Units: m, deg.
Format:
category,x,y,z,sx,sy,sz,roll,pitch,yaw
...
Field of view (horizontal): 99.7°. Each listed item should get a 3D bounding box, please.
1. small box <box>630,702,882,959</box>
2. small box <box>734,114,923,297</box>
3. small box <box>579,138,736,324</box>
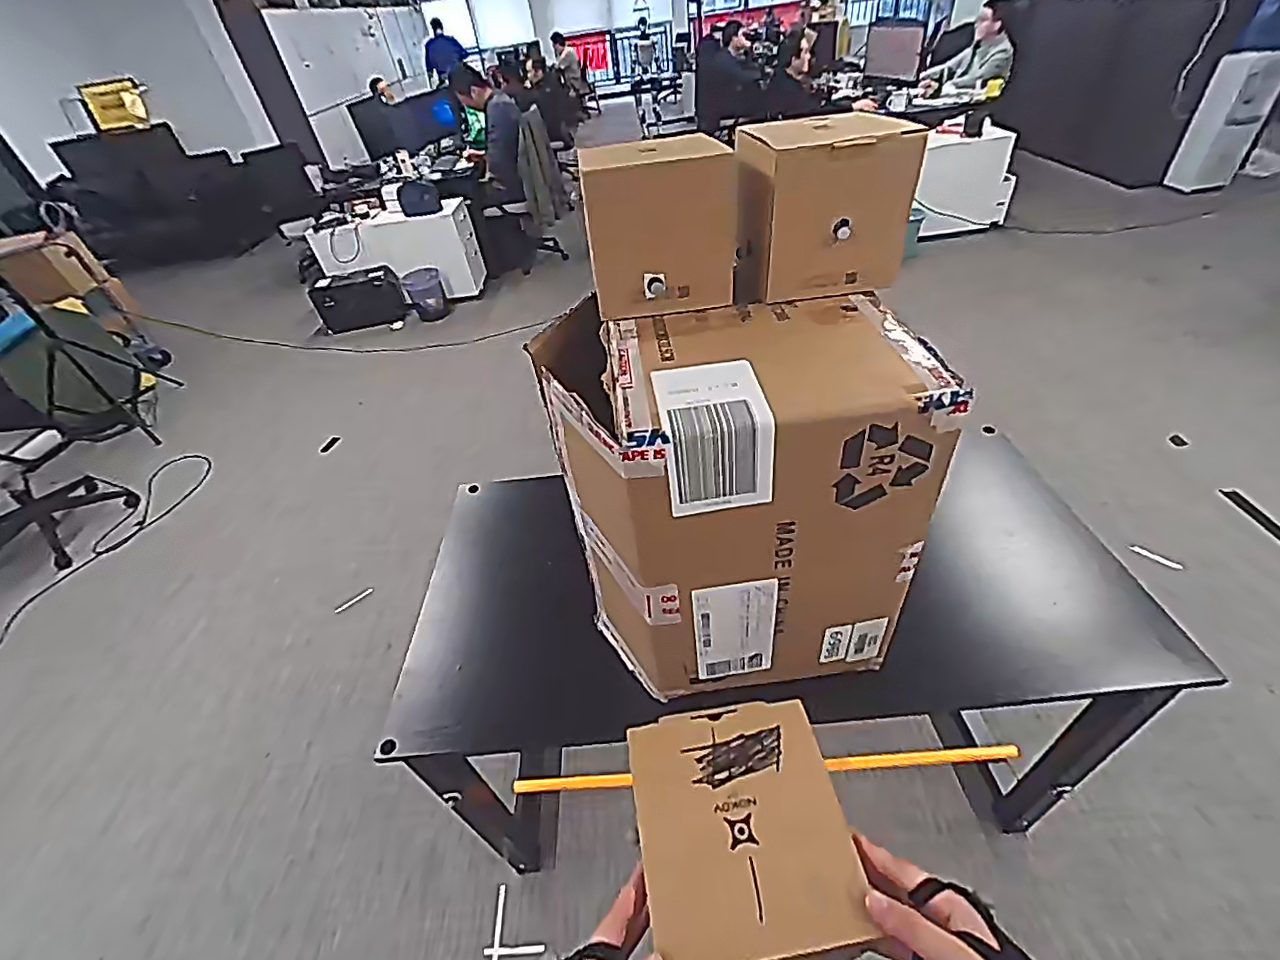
category,x,y,z,sx,sy,sz,roll,pitch,yaw
small box,0.085,0.335,0.491,0.168,0.176,0.179,-9,42,-3
small box,0.216,-0.339,0.678,0.168,0.176,0.179,-7,41,-2
small box,0.018,-0.315,0.682,0.168,0.176,0.179,-10,39,-2
